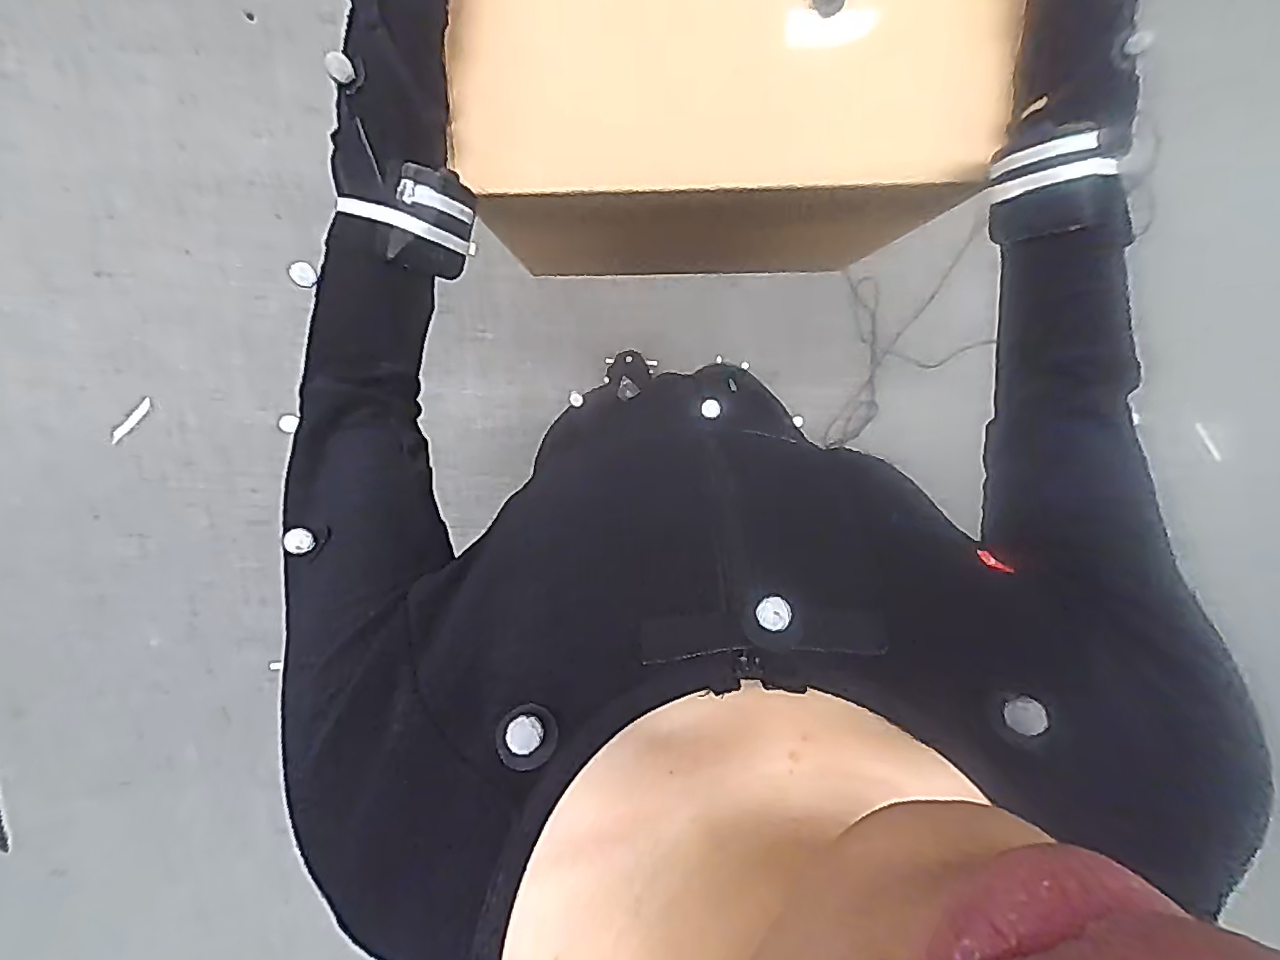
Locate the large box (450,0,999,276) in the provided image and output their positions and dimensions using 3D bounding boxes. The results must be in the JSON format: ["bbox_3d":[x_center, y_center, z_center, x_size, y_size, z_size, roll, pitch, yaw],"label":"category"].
[{"bbox_3d":[0.057,-0.399,0.531,0.408,0.320,0.320,-2,100,-1],"label":"large box"}]
